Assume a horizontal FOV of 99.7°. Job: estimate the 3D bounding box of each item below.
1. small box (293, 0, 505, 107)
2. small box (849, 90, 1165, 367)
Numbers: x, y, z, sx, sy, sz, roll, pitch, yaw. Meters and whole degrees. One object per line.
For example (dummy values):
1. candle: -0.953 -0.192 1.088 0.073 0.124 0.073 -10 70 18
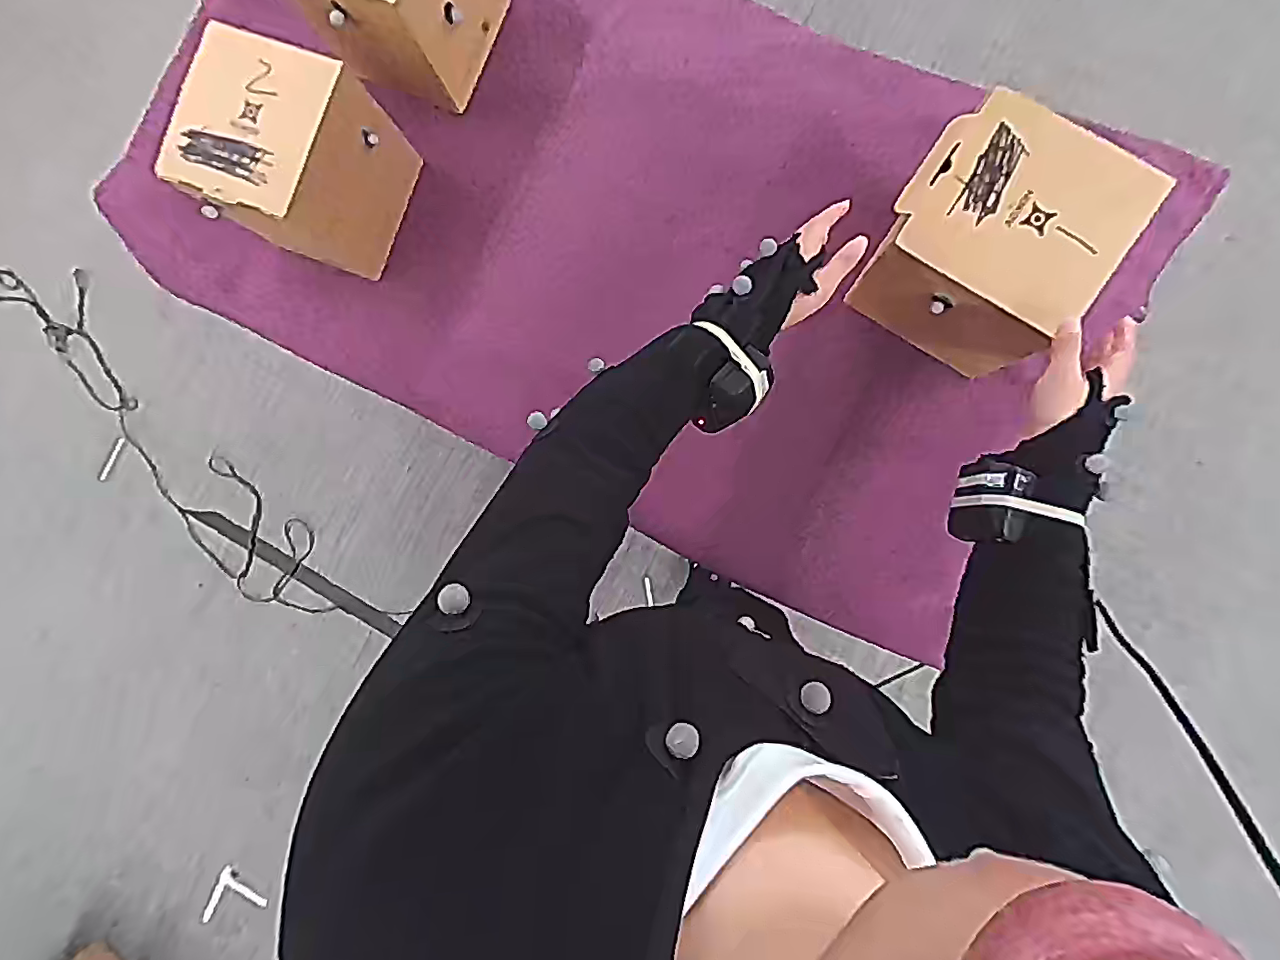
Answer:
1. small box: -0.285 -0.589 0.637 0.179 0.176 0.168 24 91 6
2. small box: 0.348 -0.236 0.558 0.179 0.176 0.168 33 94 5
